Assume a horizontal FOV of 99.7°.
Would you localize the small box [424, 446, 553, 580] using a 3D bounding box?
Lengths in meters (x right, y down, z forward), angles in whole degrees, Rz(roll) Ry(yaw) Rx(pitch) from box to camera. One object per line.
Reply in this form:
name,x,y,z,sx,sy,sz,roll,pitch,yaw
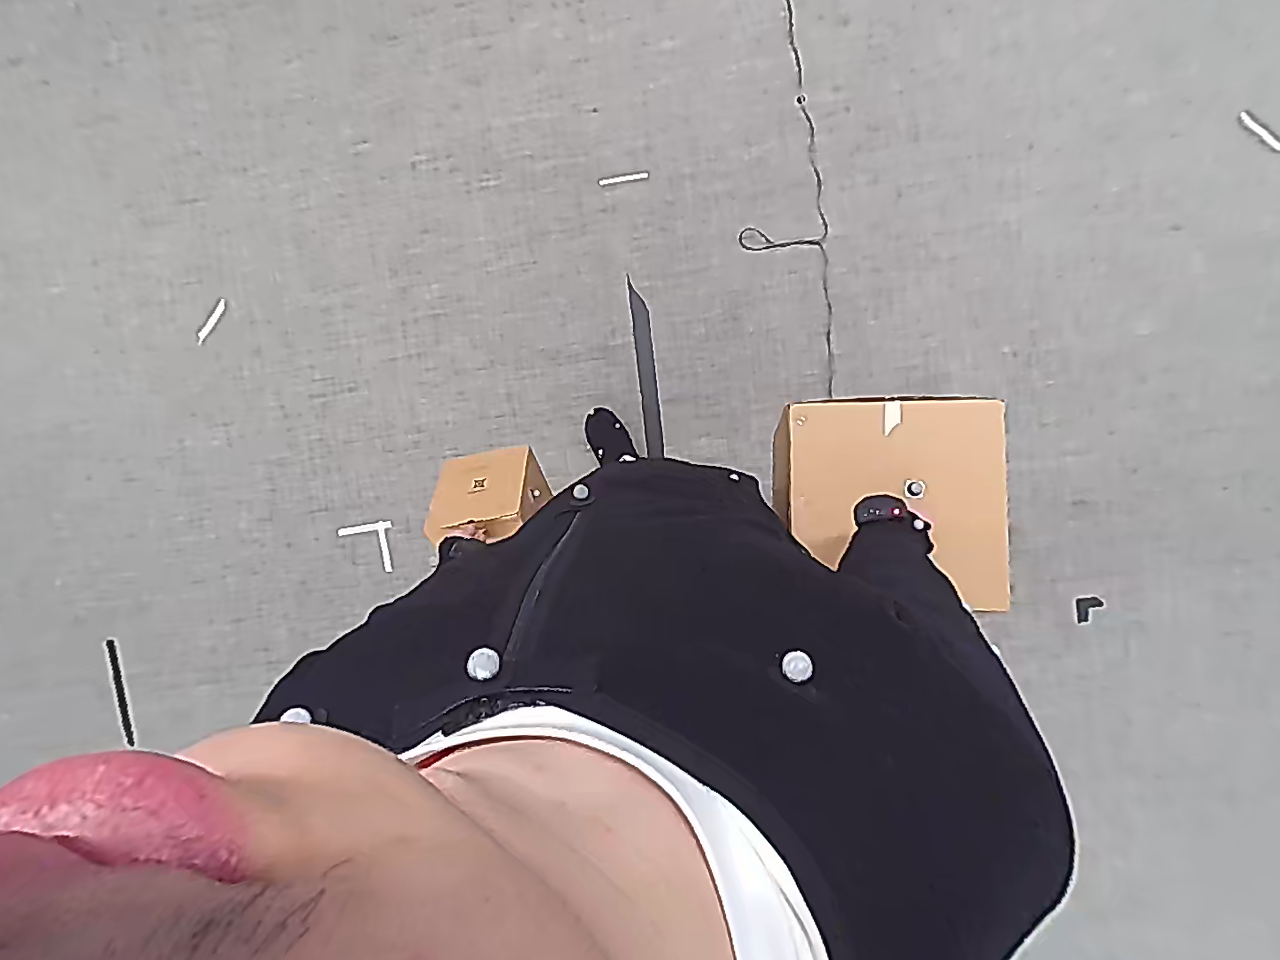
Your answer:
small box,-0.264,0.068,0.989,0.168,0.179,0.176,-10,135,5
